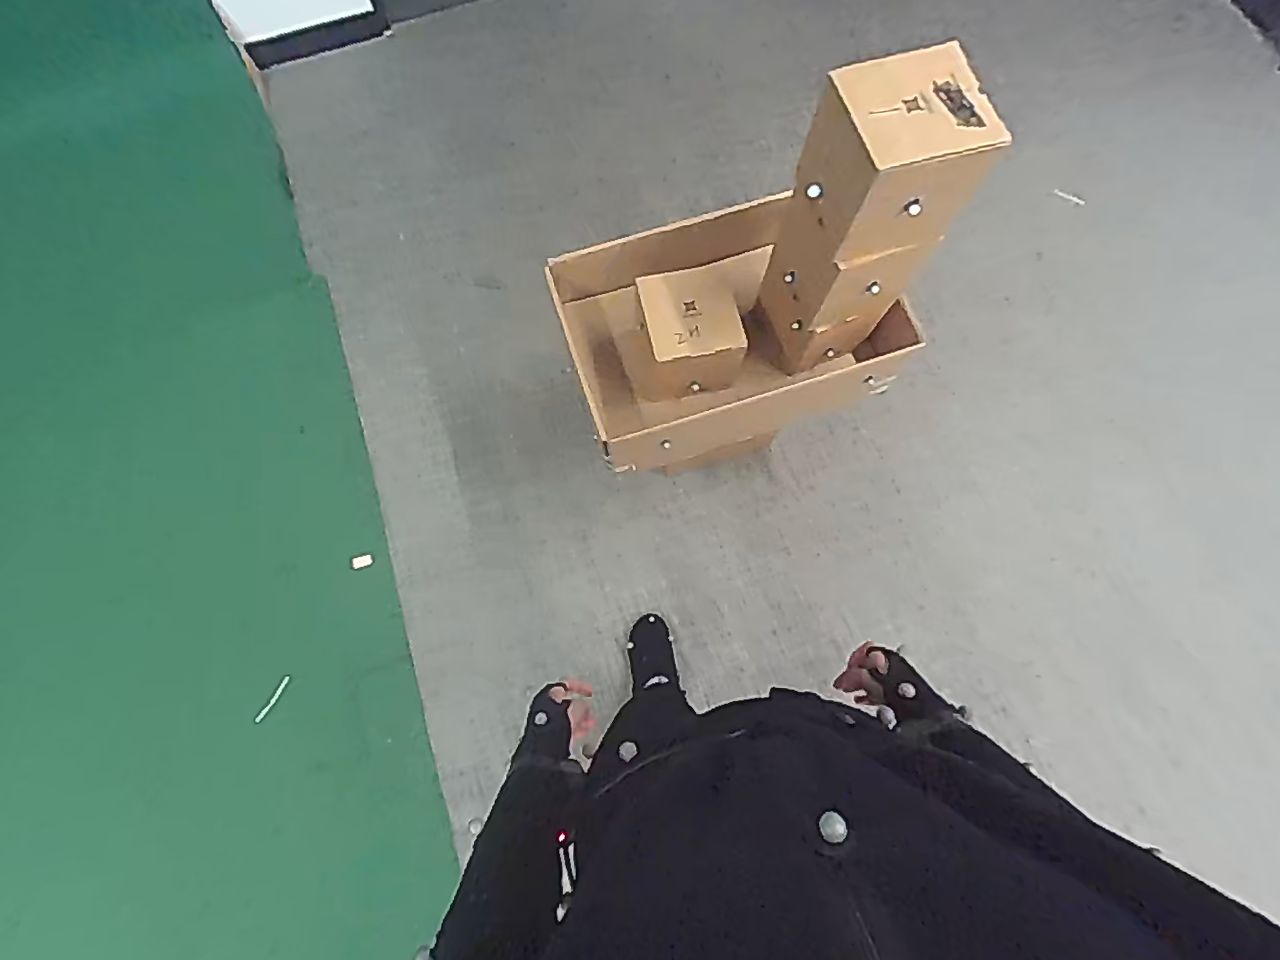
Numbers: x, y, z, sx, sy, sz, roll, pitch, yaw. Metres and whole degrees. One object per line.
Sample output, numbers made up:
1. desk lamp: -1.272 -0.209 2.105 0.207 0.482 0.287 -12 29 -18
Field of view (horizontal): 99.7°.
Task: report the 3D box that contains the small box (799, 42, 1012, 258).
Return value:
1. small box: 0.341 -0.434 0.732 0.179 0.176 0.168 -15 74 -3
